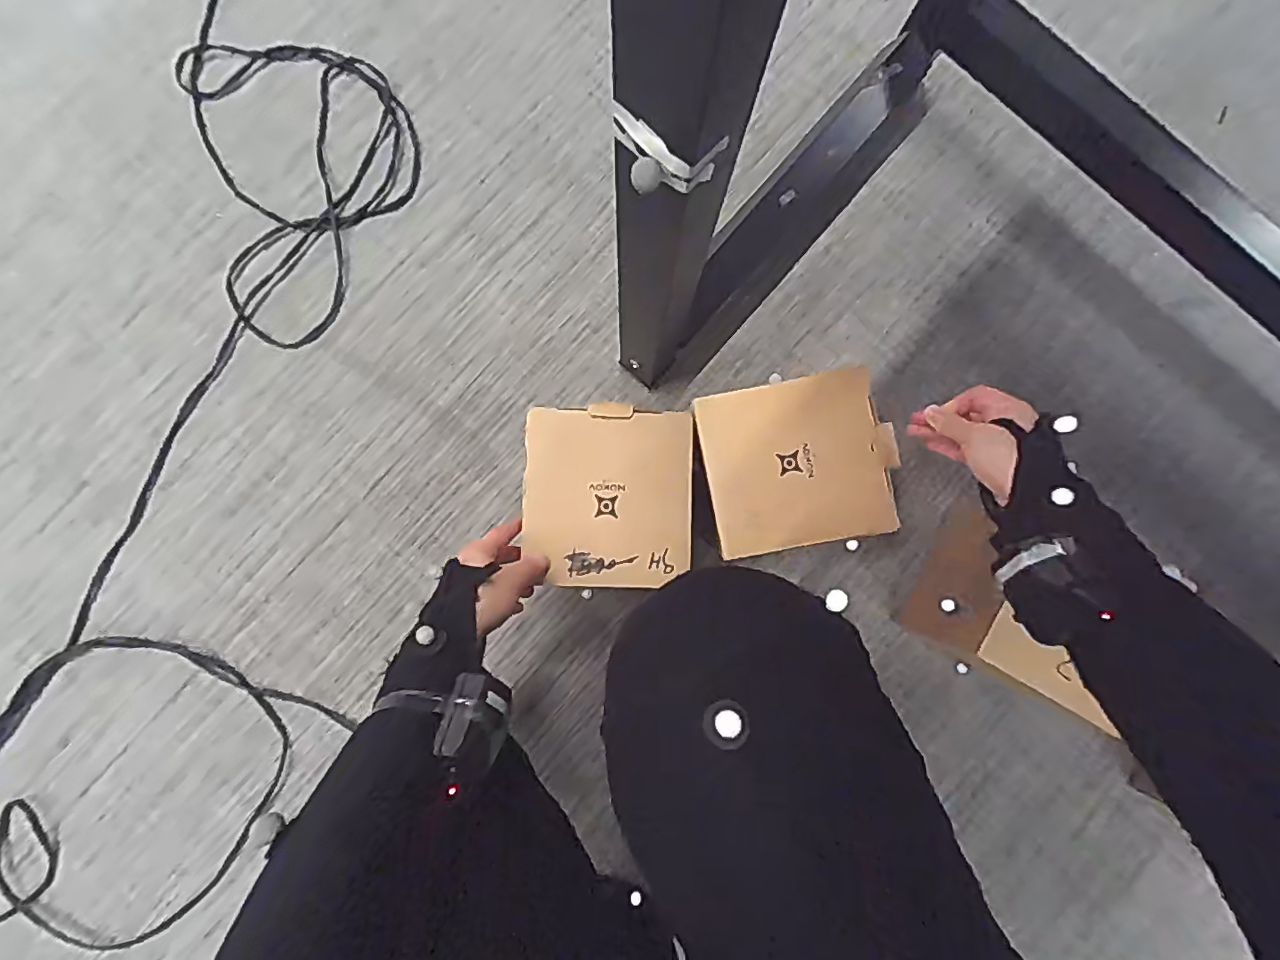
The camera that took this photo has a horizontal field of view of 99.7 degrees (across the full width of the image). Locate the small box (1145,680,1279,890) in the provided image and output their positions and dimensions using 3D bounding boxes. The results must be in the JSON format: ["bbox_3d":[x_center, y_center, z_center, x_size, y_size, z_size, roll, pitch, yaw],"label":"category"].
[{"bbox_3d":[0.734,0.360,0.602,0.168,0.176,0.179,37,86,0],"label":"small box"}]
